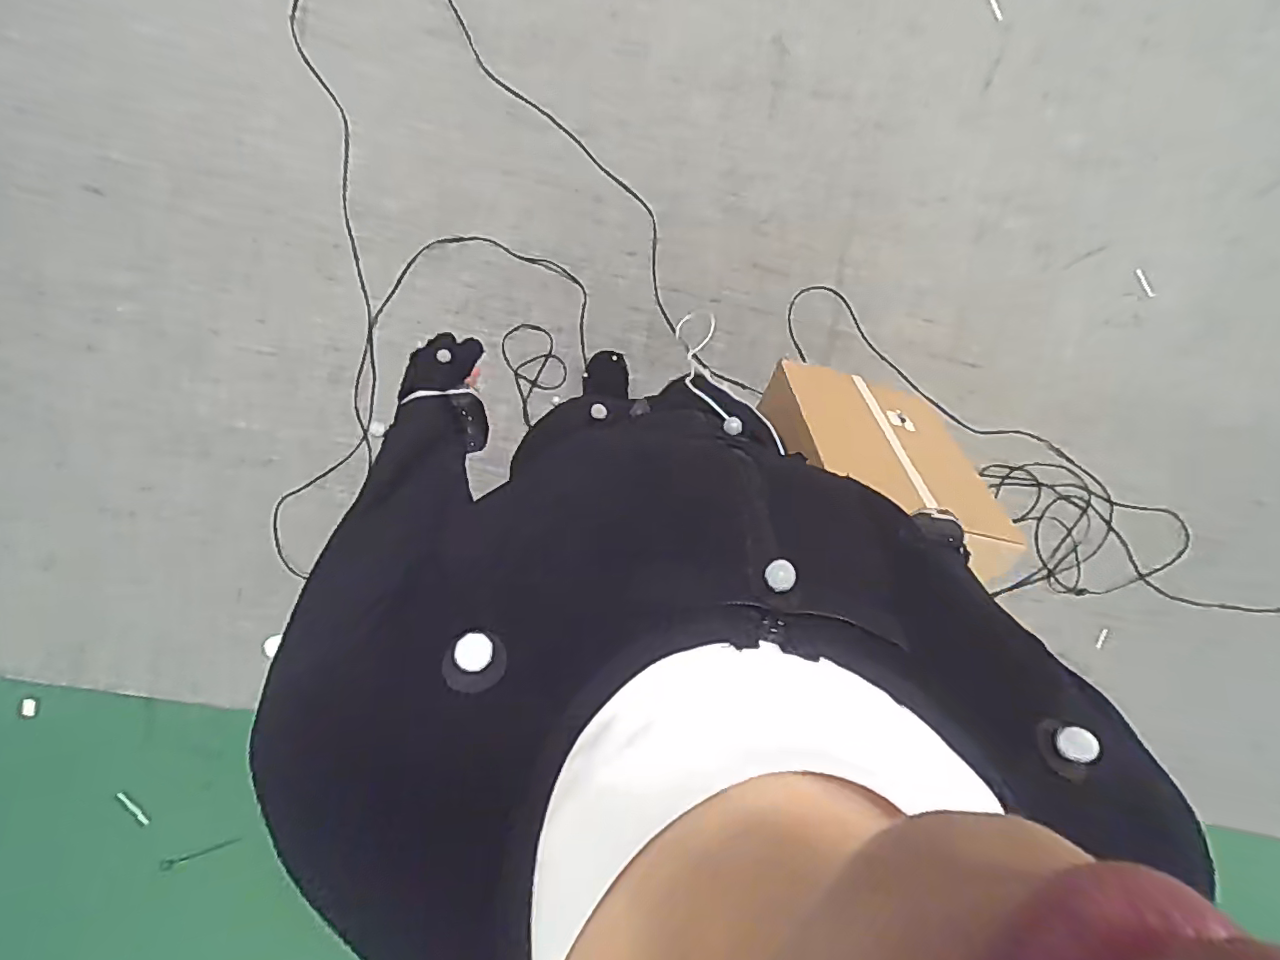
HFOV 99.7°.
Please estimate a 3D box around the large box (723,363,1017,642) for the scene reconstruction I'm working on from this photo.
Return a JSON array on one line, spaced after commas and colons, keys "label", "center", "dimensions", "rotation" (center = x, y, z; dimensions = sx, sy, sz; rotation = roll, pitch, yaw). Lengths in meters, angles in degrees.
[{"label": "large box", "center": [0.375, 0.042, 1.019], "dimensions": [0.320, 0.408, 0.320], "rotation": [12, 131, -12]}]
